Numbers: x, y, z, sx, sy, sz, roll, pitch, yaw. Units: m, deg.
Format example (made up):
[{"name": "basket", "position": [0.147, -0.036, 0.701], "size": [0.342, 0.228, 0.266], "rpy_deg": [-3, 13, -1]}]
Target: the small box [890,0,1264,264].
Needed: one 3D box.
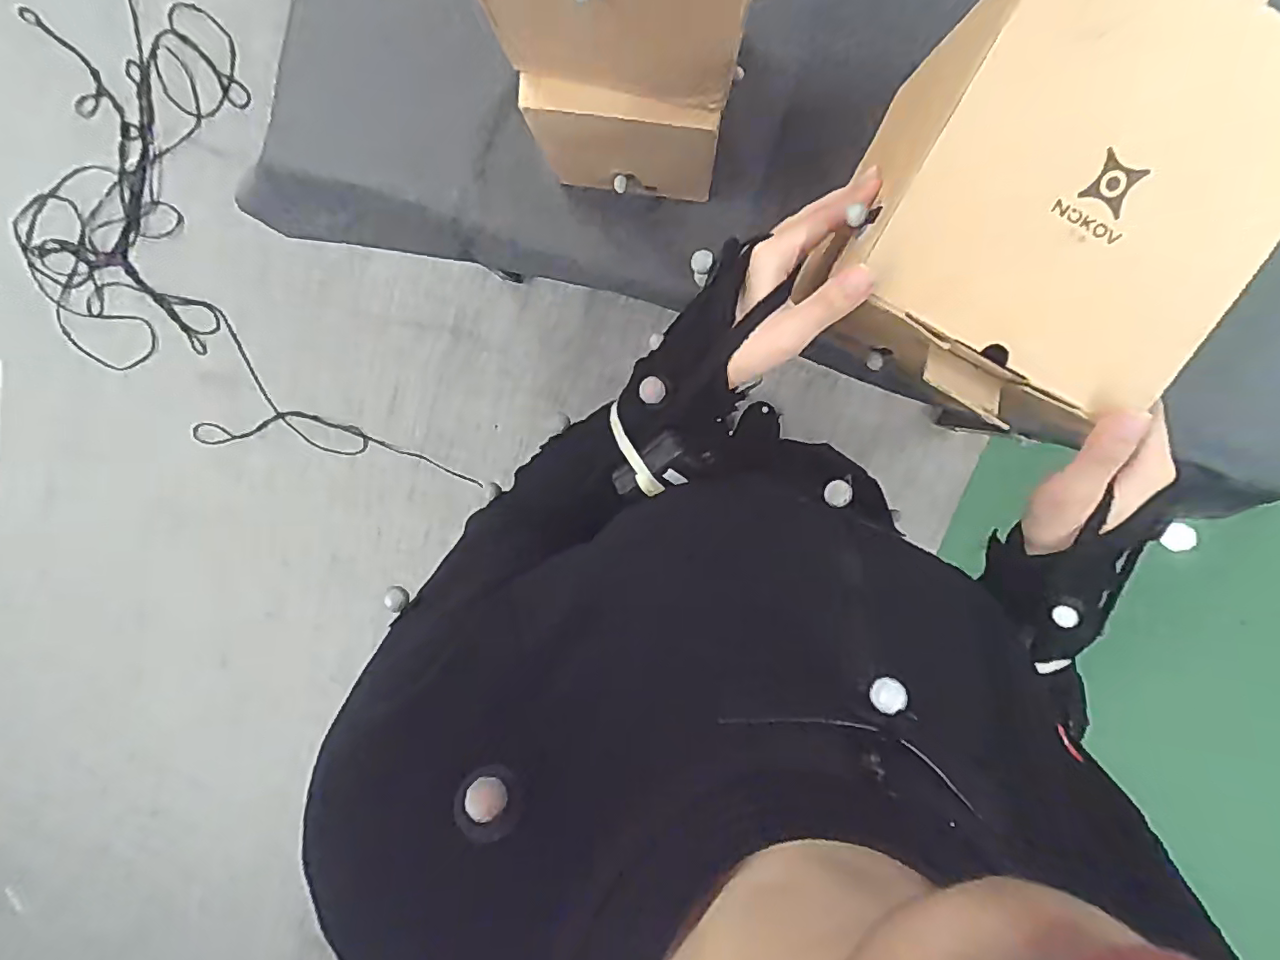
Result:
[{"name": "small box", "position": [0.351, -0.314, 0.483], "size": [0.168, 0.176, 0.179], "rpy_deg": [19, 101, 1]}]

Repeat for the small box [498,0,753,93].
[{"name": "small box", "position": [-0.003, -0.379, 0.333], "size": [0.179, 0.176, 0.168], "rpy_deg": [13, 102, 1]}]

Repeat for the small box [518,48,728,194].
[{"name": "small box", "position": [0.000, -0.393, 0.495], "size": [0.168, 0.176, 0.179], "rpy_deg": [9, 101, 3]}]
